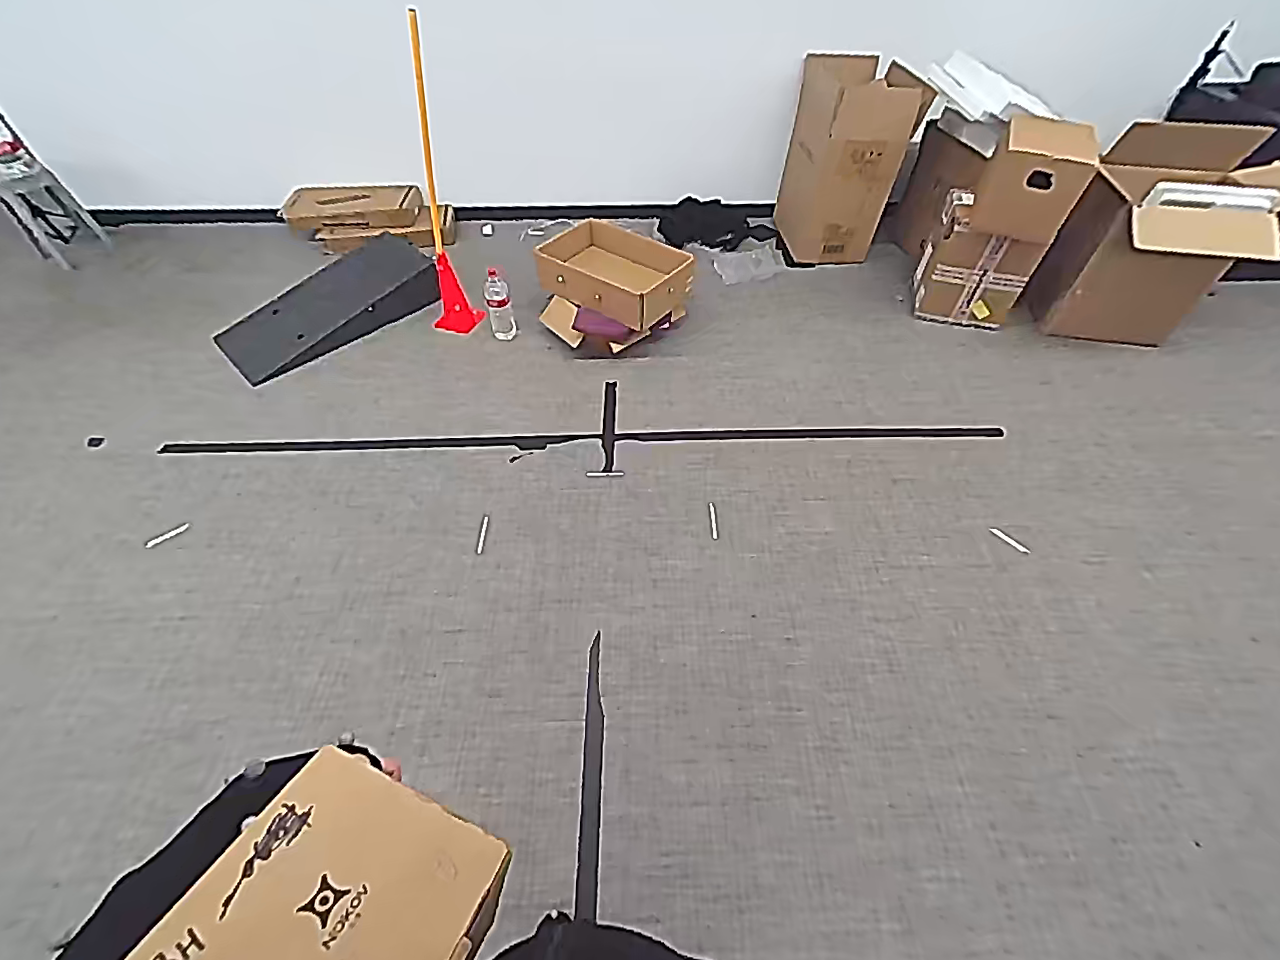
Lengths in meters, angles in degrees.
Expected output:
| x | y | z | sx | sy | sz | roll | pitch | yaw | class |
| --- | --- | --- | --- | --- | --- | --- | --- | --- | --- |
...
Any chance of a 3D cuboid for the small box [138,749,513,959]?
| x | y | z | sx | sy | sz | roll | pitch | yaw | class |
| --- | --- | --- | --- | --- | --- | --- | --- | --- | --- |
| -0.222 | 0.354 | 0.412 | 0.179 | 0.176 | 0.168 | 24 | 35 | 8 | small box |
